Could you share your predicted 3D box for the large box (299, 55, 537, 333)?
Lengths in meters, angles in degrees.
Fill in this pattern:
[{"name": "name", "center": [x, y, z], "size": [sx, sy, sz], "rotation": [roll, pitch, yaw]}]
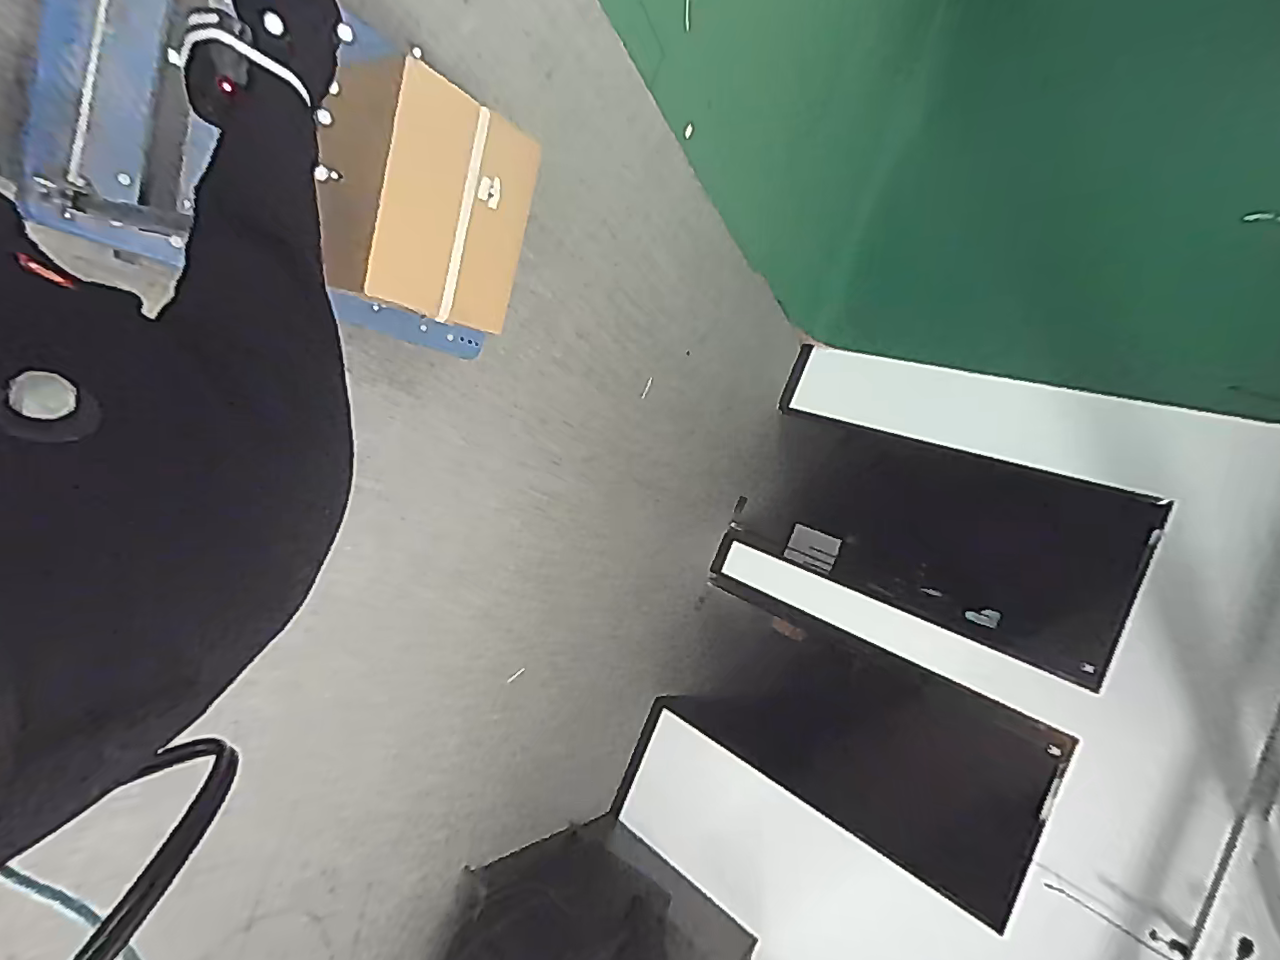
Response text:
[{"name": "large box", "center": [-0.467, -0.558, 1.134], "size": [0.320, 0.320, 0.408], "rotation": [2, 105, -55]}]
